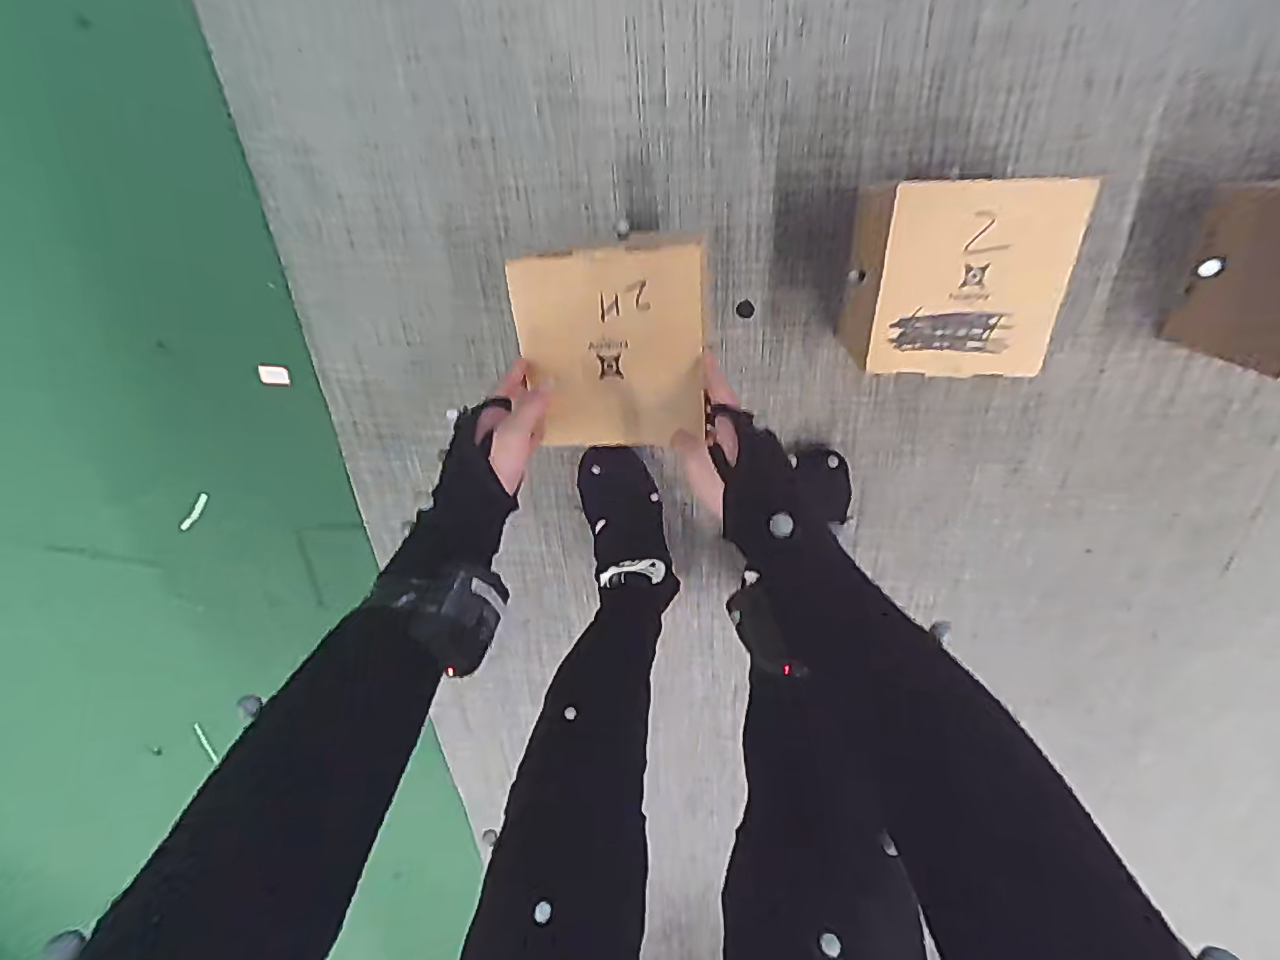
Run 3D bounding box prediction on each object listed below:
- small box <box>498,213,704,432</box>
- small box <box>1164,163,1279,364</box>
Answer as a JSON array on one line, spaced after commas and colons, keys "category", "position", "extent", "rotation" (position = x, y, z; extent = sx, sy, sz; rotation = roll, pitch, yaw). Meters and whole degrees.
[{"category": "small box", "position": [-0.022, -0.162, 0.548], "extent": [0.168, 0.176, 0.179], "rotation": [-1, 119, 9]}, {"category": "small box", "position": [0.677, -0.214, 0.513], "extent": [0.179, 0.176, 0.168], "rotation": [0, 117, 10]}]
